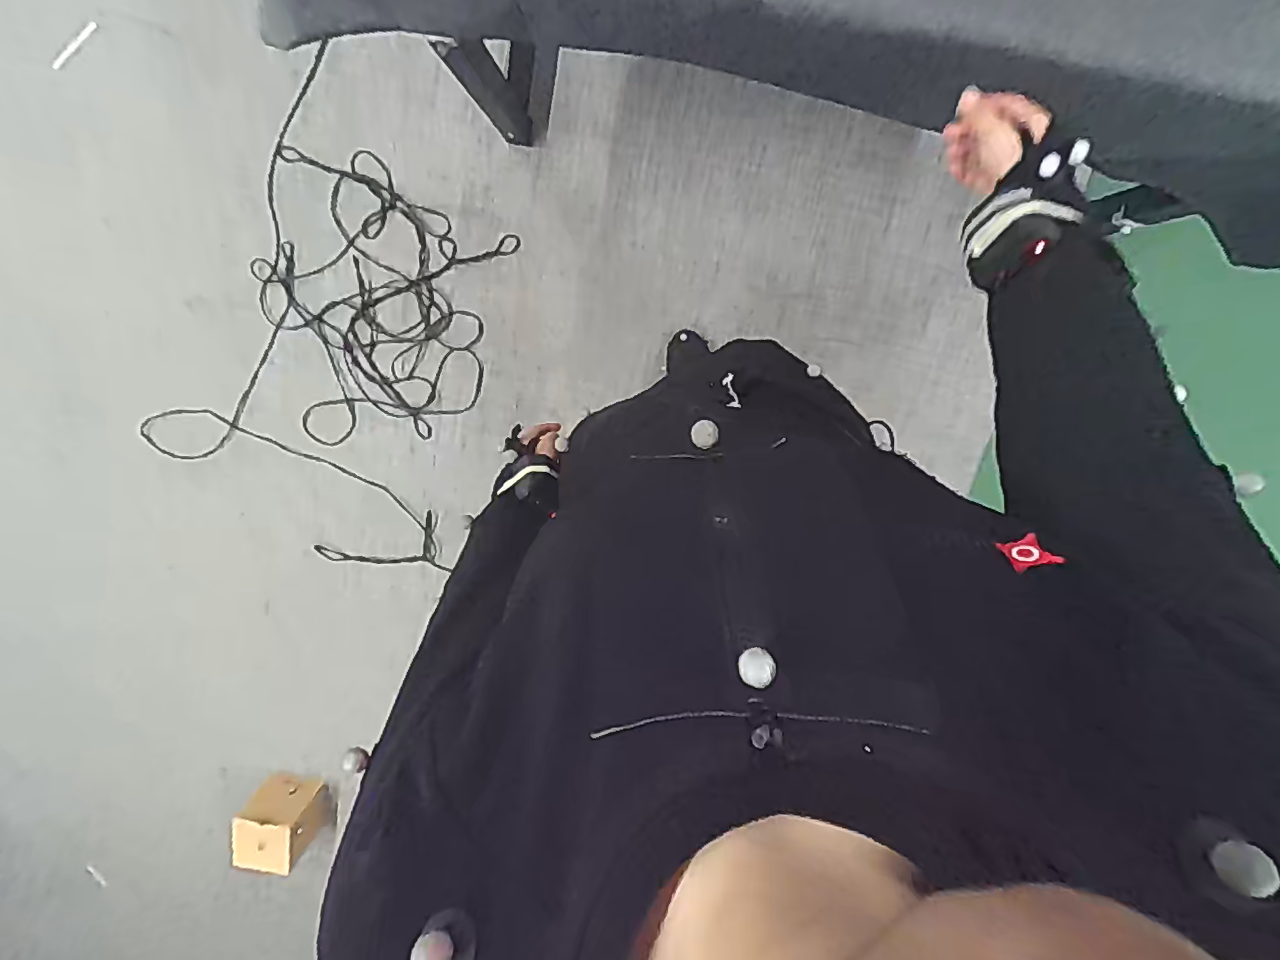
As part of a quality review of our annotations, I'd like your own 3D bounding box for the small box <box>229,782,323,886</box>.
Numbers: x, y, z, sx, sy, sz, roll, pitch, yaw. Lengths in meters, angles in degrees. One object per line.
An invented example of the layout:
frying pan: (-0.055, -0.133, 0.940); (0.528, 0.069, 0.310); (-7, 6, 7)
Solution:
small box: (-1.057, 1.028, 1.579); (0.168, 0.176, 0.179); (10, 103, 0)
